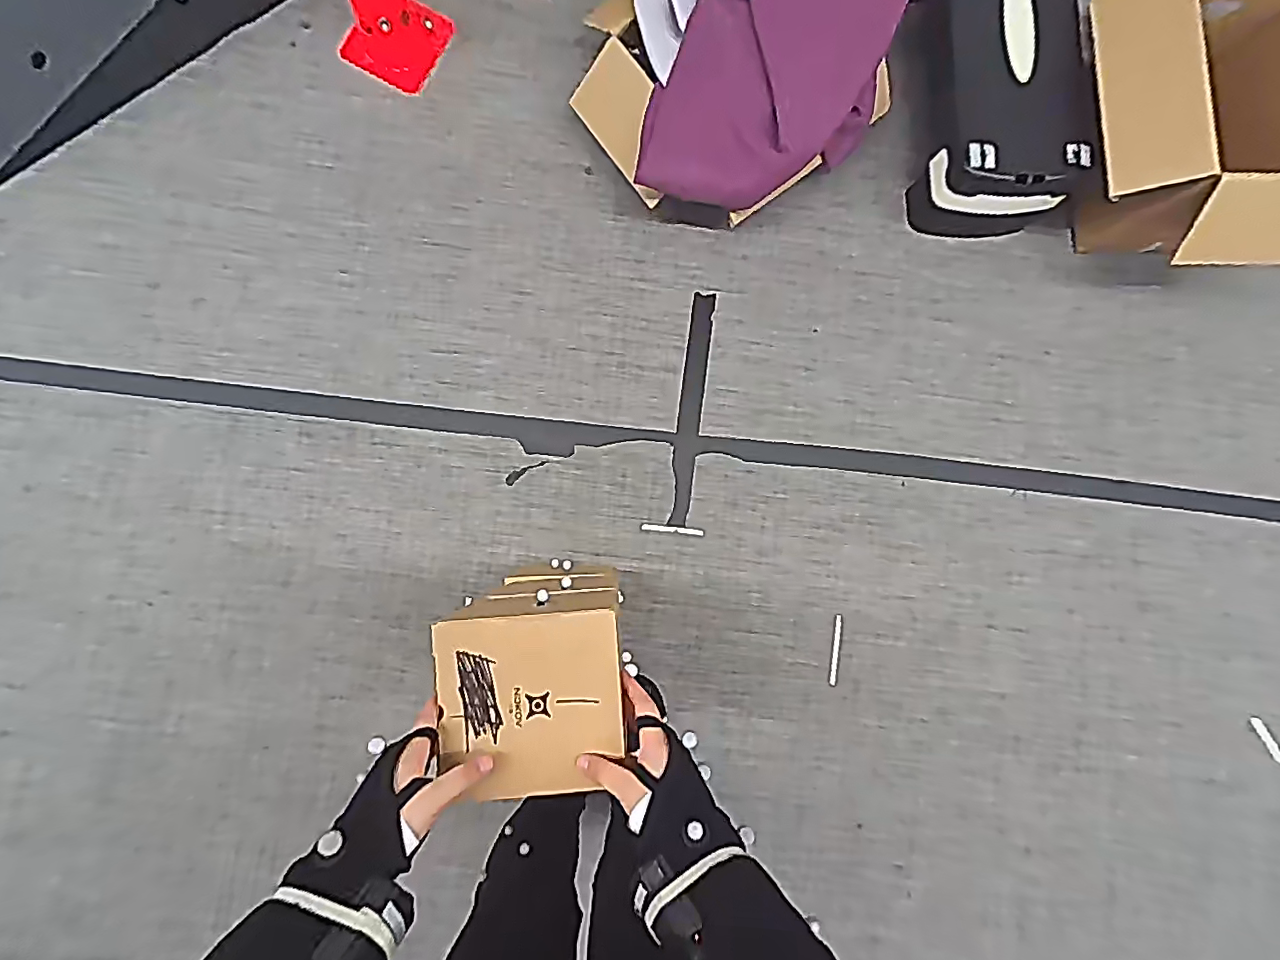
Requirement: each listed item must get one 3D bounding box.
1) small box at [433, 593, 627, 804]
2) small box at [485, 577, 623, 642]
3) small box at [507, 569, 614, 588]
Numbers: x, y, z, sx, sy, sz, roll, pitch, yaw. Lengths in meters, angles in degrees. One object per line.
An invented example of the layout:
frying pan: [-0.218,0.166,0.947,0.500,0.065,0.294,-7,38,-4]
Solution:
small box: [-0.106,0.218,0.583,0.179,0.176,0.168,-4,85,-2]
small box: [-0.108,0.235,0.747,0.168,0.176,0.179,-4,86,-2]
small box: [-0.126,0.243,0.910,0.168,0.176,0.179,-2,86,-1]
